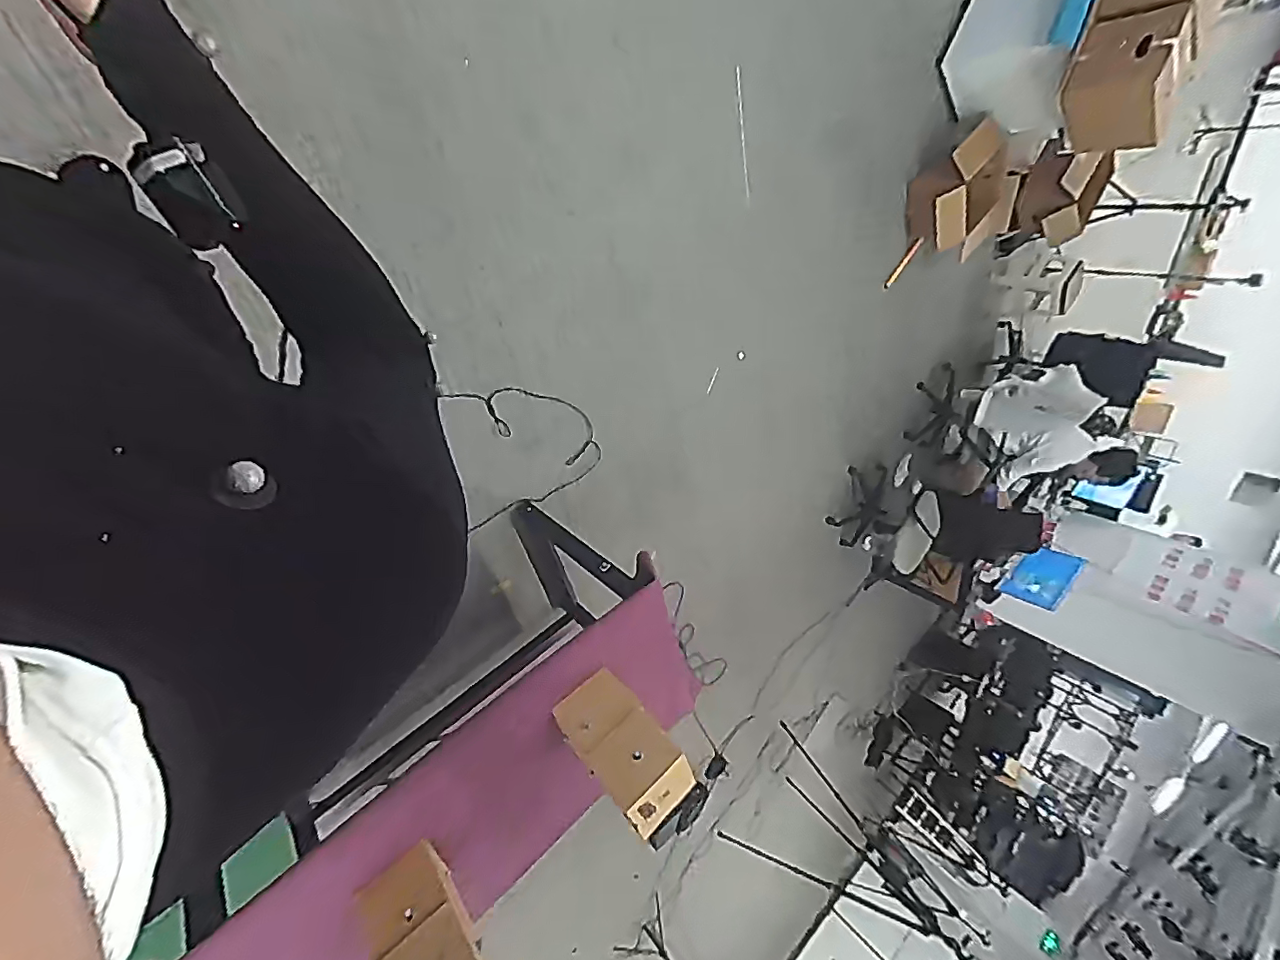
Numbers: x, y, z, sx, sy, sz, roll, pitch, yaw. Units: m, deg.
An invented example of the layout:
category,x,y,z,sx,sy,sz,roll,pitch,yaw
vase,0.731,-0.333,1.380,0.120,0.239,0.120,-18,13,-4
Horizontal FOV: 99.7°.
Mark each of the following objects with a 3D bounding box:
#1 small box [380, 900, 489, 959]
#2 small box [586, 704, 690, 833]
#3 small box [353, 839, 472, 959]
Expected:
category,x,y,z,sx,sy,sz,roll,pitch,yaw
small box,-0.401,1.002,1.078,0.179,0.176,0.168,-32,129,-31
small box,-0.010,0.683,1.293,0.179,0.176,0.168,-37,132,-25
small box,-0.508,0.956,1.195,0.179,0.176,0.168,-32,129,-31
